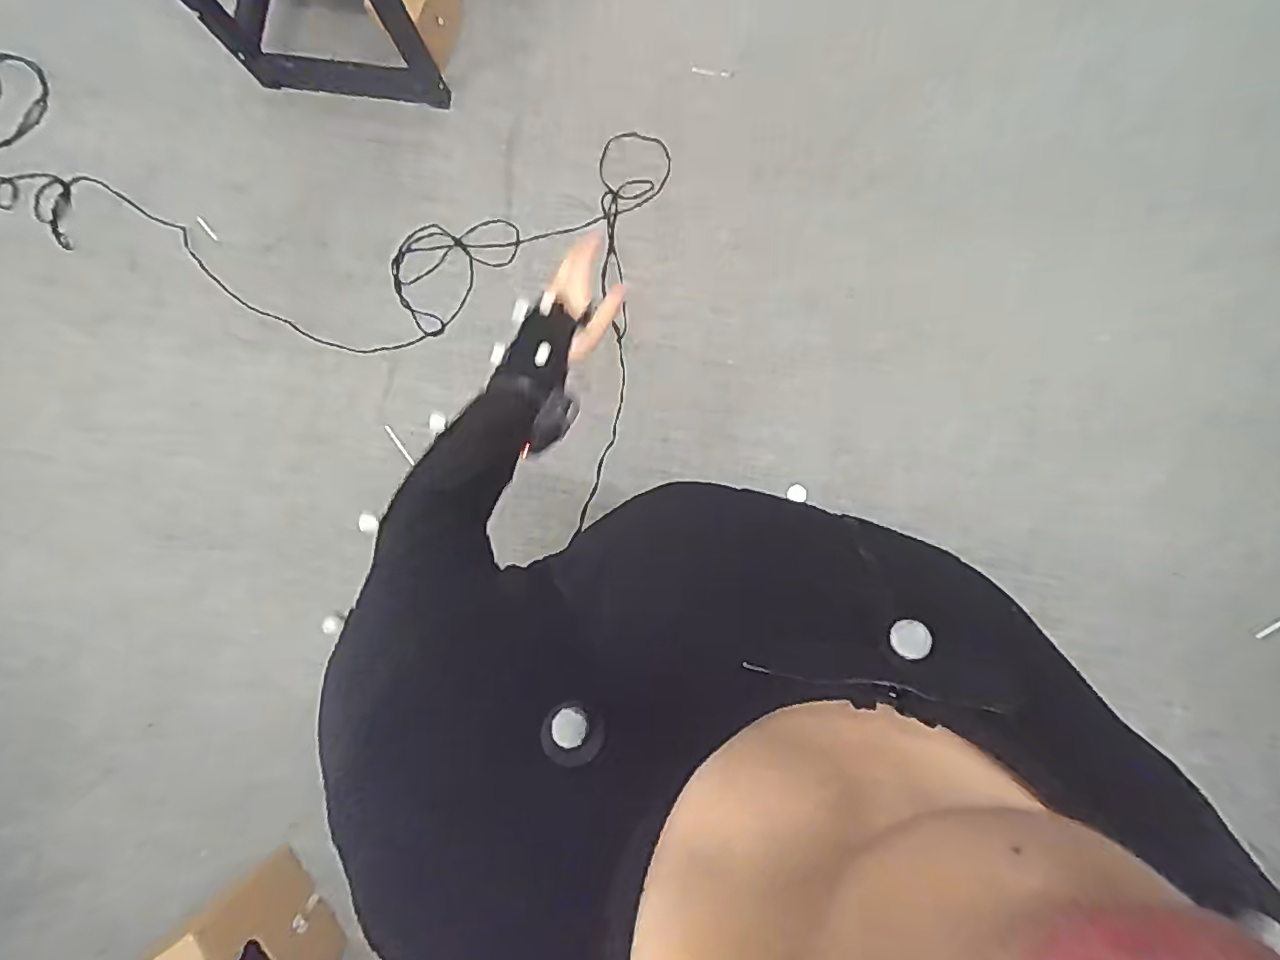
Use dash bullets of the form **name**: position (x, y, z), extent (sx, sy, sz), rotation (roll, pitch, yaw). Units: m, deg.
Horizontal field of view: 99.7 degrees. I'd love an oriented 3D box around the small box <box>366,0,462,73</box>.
- **small box**: position (-0.627, -1.308, 1.526), extent (0.168, 0.176, 0.179), rotation (21, 90, 3)
